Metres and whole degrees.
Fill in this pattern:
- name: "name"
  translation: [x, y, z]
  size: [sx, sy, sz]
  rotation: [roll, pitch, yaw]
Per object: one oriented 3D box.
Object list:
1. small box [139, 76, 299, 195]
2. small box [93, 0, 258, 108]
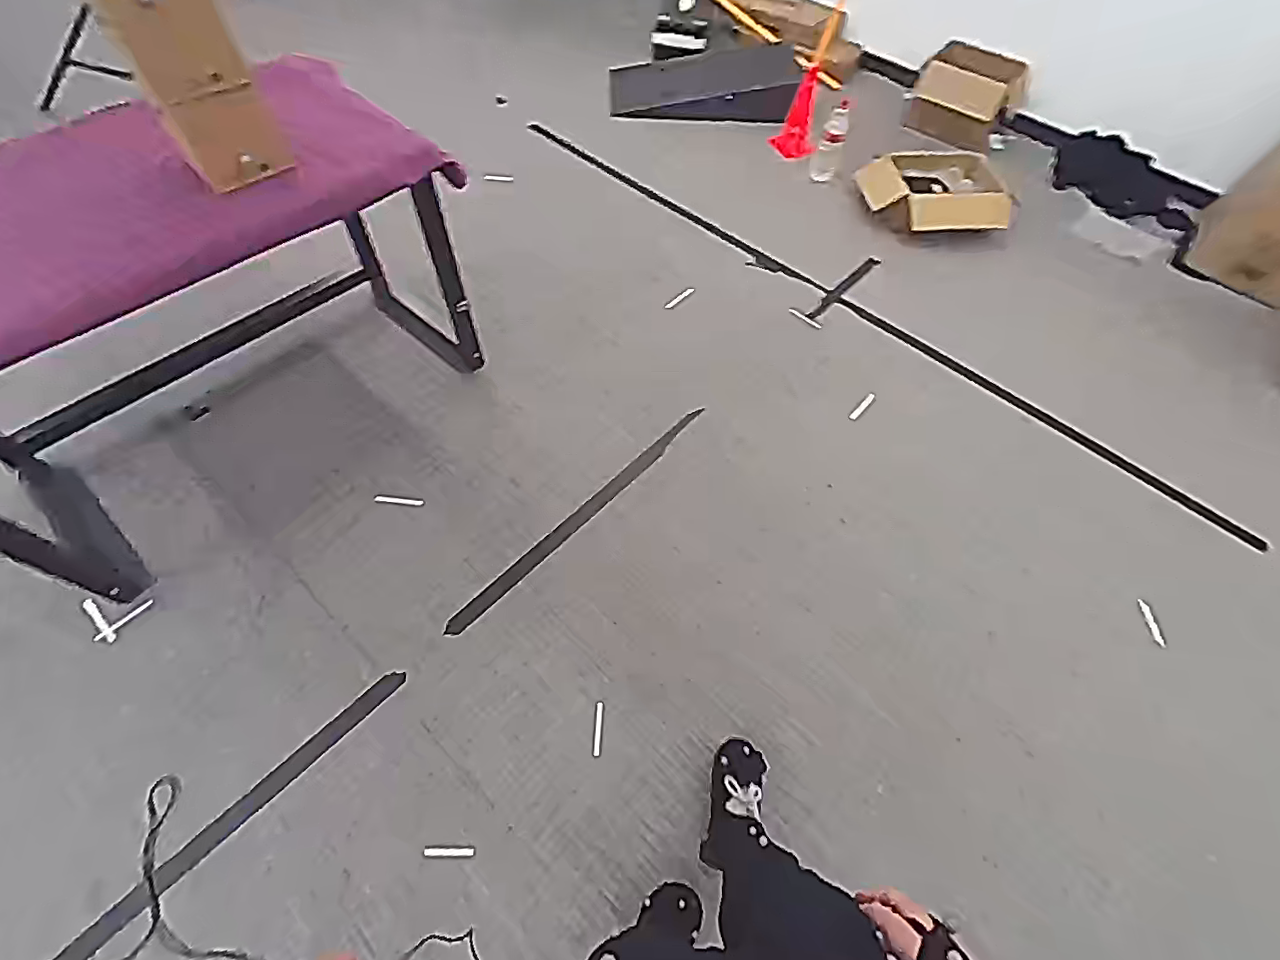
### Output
- name: "small box"
  translation: [-0.854, -0.726, 1.112]
  size: [0.168, 0.176, 0.179]
  rotation: [-40, 69, -23]
- name: "small box"
  translation: [-0.841, -0.808, 0.970]
  size: [0.168, 0.176, 0.179]
  rotation: [-37, 67, -22]
